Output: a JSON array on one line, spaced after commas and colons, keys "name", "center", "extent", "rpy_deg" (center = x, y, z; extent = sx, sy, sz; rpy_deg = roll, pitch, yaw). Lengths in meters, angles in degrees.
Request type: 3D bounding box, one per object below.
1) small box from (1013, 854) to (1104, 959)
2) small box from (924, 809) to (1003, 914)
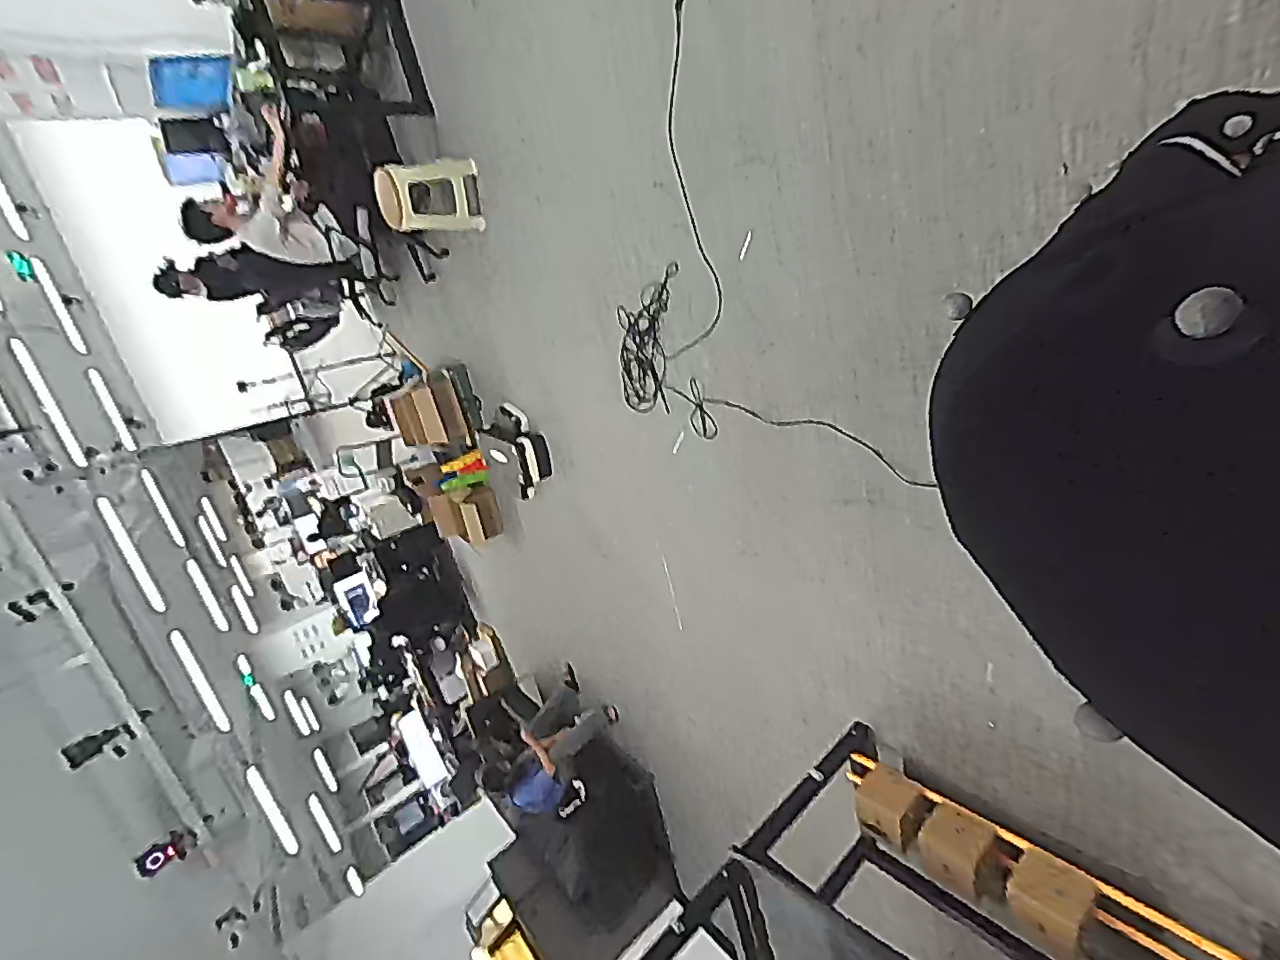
[{"name": "small box", "center": [1.179, 1.217, 1.524], "extent": [0.168, 0.176, 0.179], "rpy_deg": [10, 117, 53]}, {"name": "small box", "center": [1.030, 1.201, 1.720], "extent": [0.168, 0.176, 0.179], "rpy_deg": [8, 116, 53]}]
